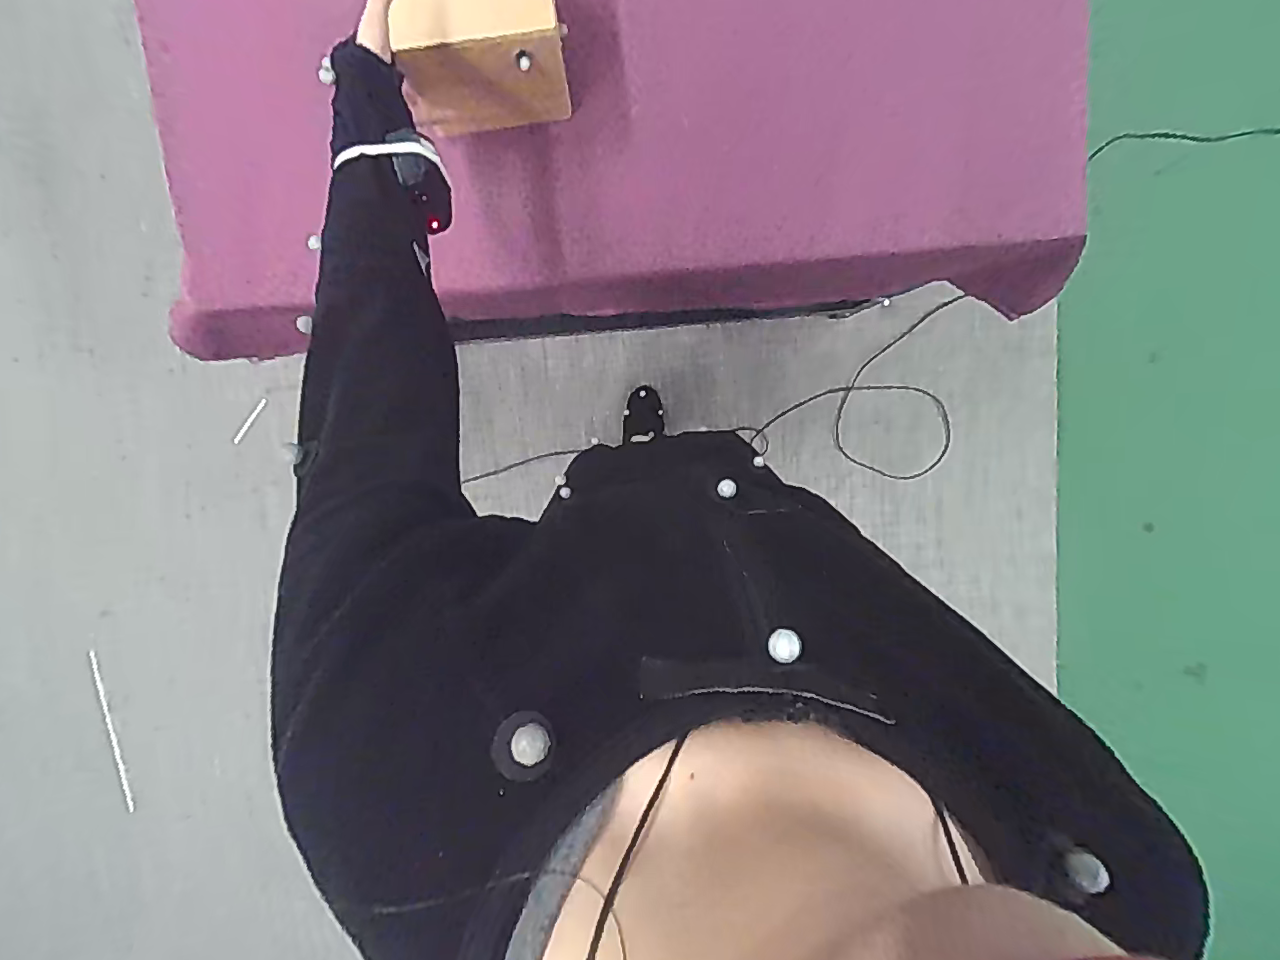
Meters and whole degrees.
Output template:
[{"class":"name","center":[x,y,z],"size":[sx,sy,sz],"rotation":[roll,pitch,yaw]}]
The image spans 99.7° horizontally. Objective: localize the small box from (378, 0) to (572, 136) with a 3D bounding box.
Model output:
[{"class":"small box","center":[-0.182,-0.523,0.613],"size":[0.179,0.176,0.168],"rotation":[-10,97,-2]}]
